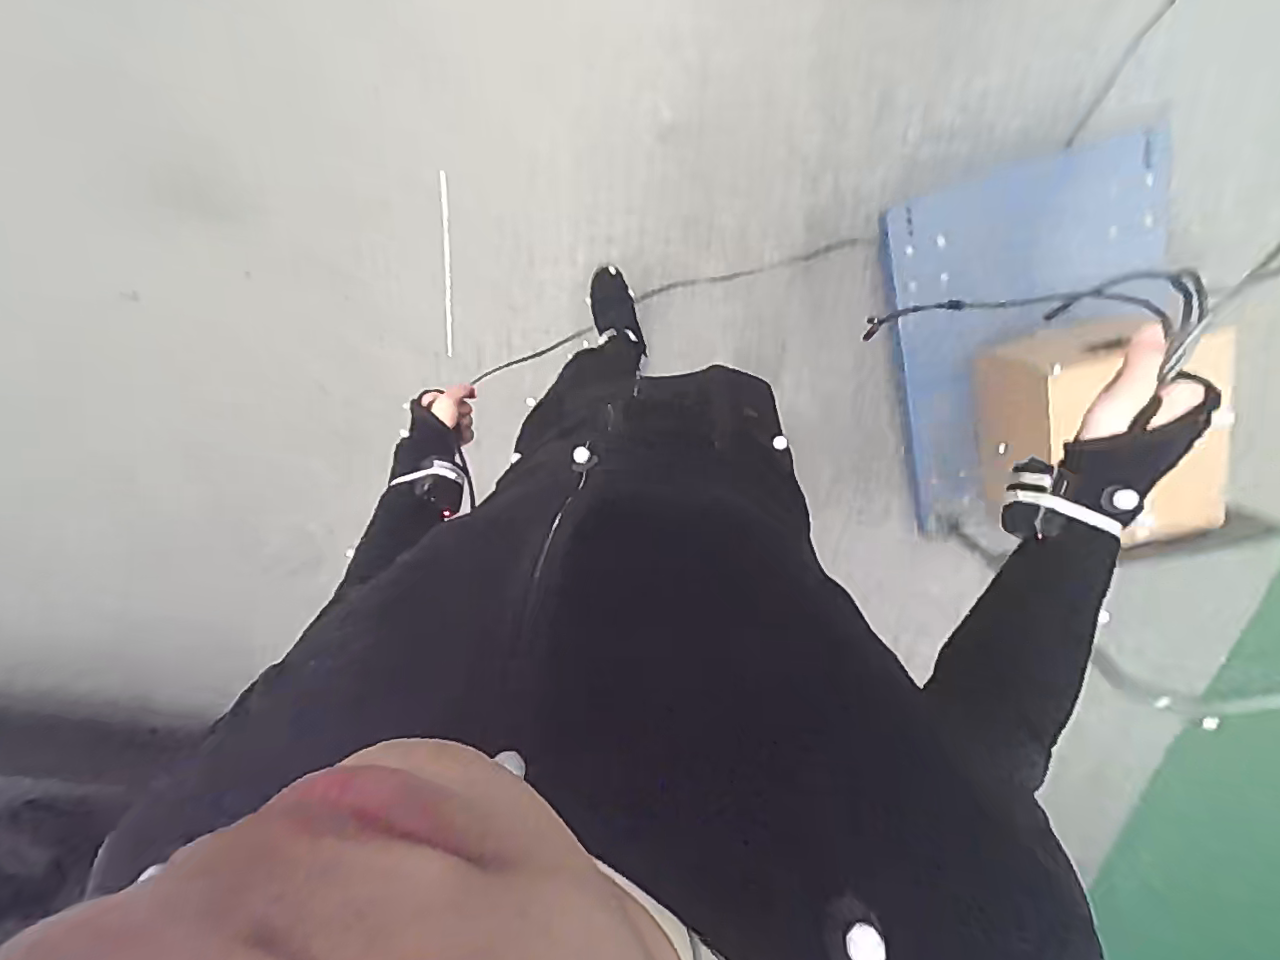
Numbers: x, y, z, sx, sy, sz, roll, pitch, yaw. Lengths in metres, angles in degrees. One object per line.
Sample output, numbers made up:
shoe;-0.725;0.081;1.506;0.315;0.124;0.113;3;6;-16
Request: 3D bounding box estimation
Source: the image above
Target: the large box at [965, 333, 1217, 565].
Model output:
large box;0.964;-0.080;1.199;0.320;0.320;0.408;-13;107;9
